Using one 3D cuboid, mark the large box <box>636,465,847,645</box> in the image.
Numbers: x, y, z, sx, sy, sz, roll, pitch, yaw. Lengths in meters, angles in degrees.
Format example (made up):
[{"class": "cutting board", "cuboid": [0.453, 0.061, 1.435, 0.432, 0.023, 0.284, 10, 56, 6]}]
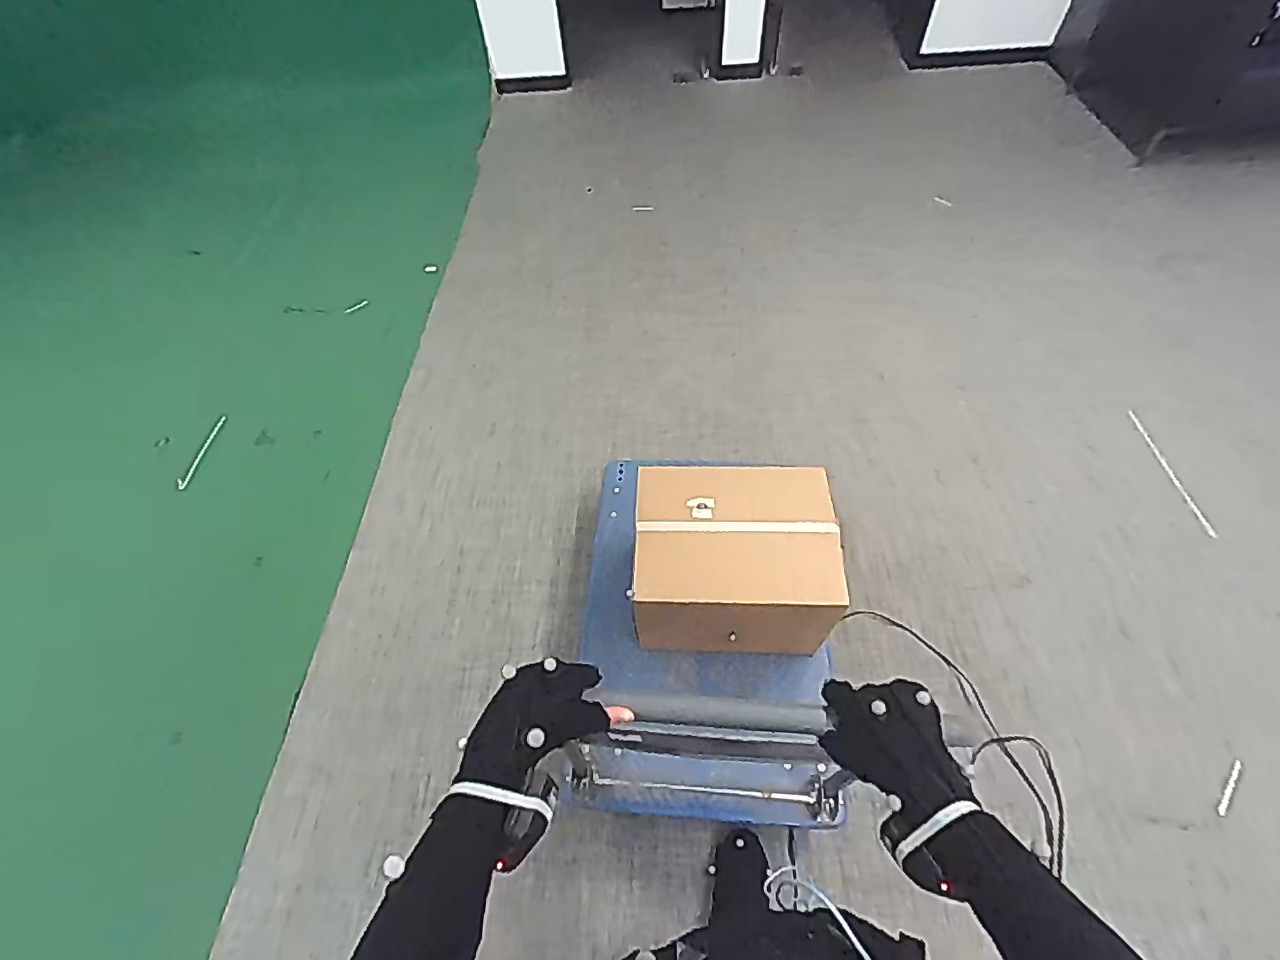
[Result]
[{"class": "large box", "cuboid": [0.206, 0.182, 1.229, 0.408, 0.320, 0.320, -1, 56, 5]}]
